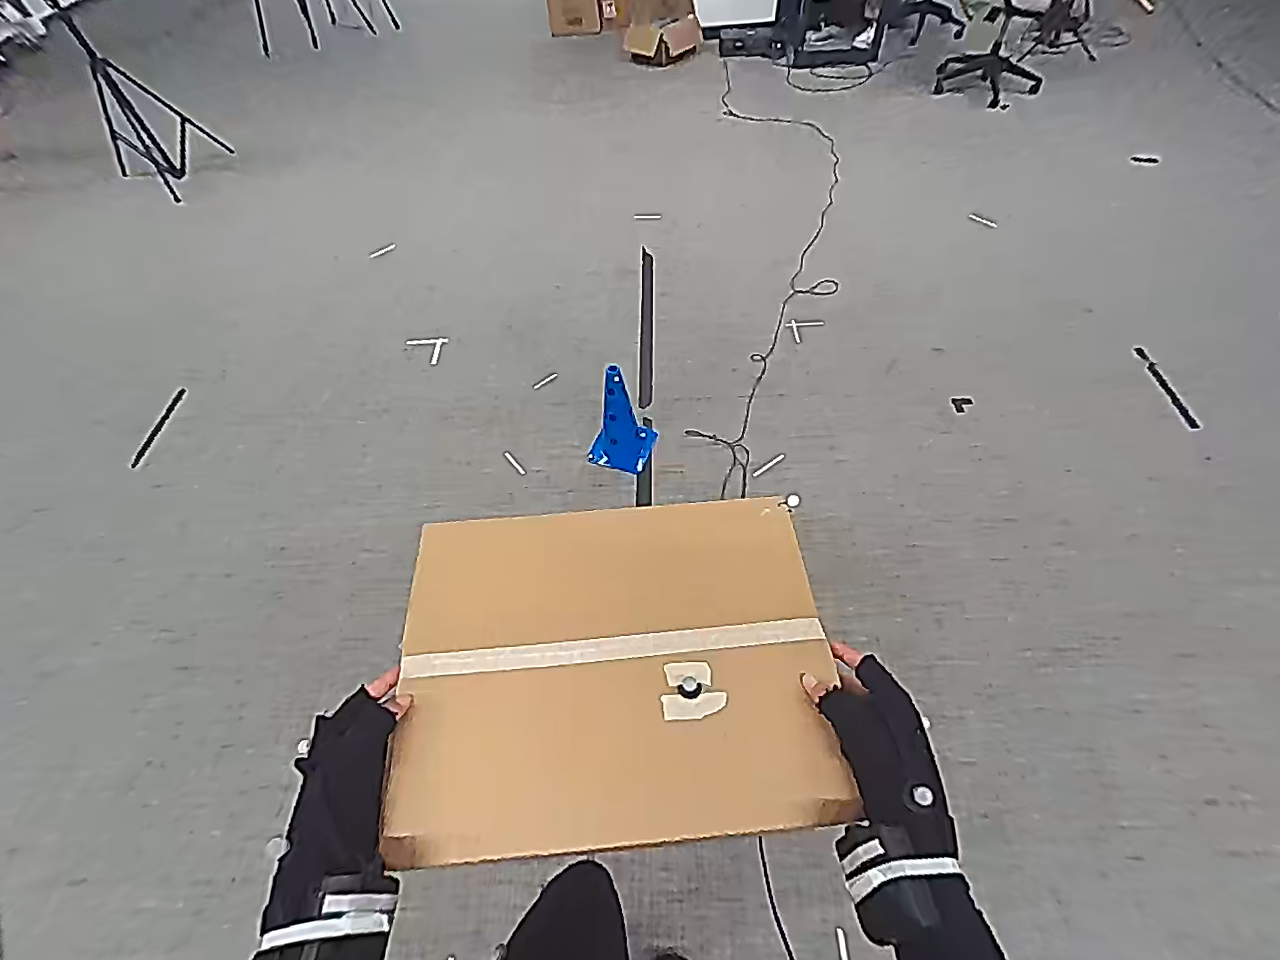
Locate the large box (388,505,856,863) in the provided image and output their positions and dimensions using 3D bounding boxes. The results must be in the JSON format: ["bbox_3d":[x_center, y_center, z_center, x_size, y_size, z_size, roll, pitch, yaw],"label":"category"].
[{"bbox_3d":[-0.025,0.254,0.656,0.408,0.320,0.320,-4,55,-2],"label":"large box"}]

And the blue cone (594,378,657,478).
[{"bbox_3d":[-0.060,-0.191,1.750,0.193,0.380,0.192,16,57,16],"label":"blue cone"}]
